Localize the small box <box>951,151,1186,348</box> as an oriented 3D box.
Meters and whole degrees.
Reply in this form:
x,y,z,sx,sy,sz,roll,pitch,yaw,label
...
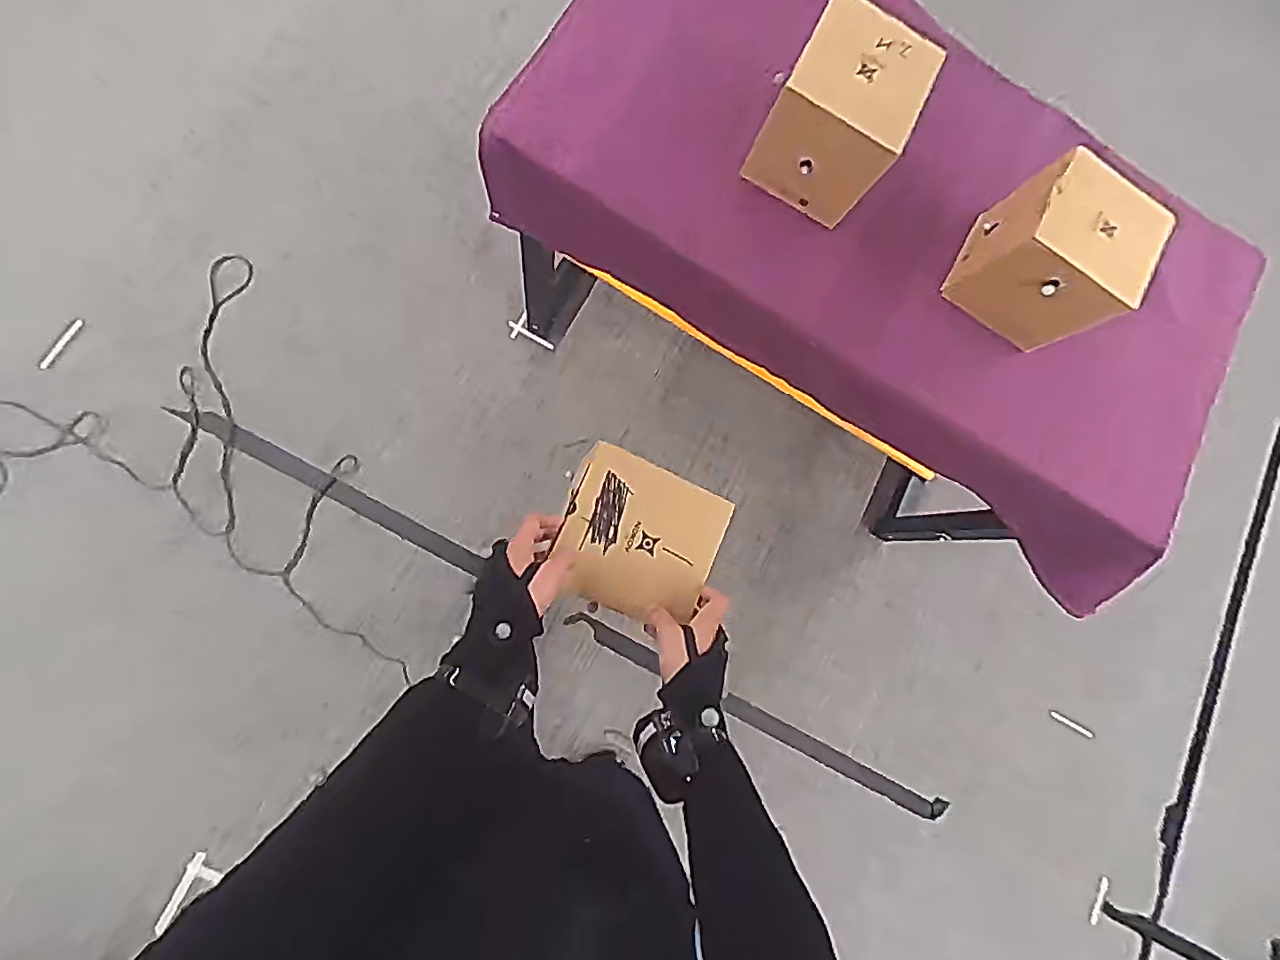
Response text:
x,y,z,sx,sy,sz,roll,pitch,yaw,label
0.605,-0.314,0.782,0.179,0.176,0.168,32,79,-4,small box

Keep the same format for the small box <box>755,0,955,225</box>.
x,y,z,sx,sy,sz,roll,pitch,yaw,label
0.280,-0.496,0.744,0.168,0.176,0.179,28,79,-6,small box

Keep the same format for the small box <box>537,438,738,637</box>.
x,y,z,sx,sy,sz,roll,pitch,yaw,label
-0.015,0.071,0.663,0.179,0.176,0.168,26,79,-10,small box
